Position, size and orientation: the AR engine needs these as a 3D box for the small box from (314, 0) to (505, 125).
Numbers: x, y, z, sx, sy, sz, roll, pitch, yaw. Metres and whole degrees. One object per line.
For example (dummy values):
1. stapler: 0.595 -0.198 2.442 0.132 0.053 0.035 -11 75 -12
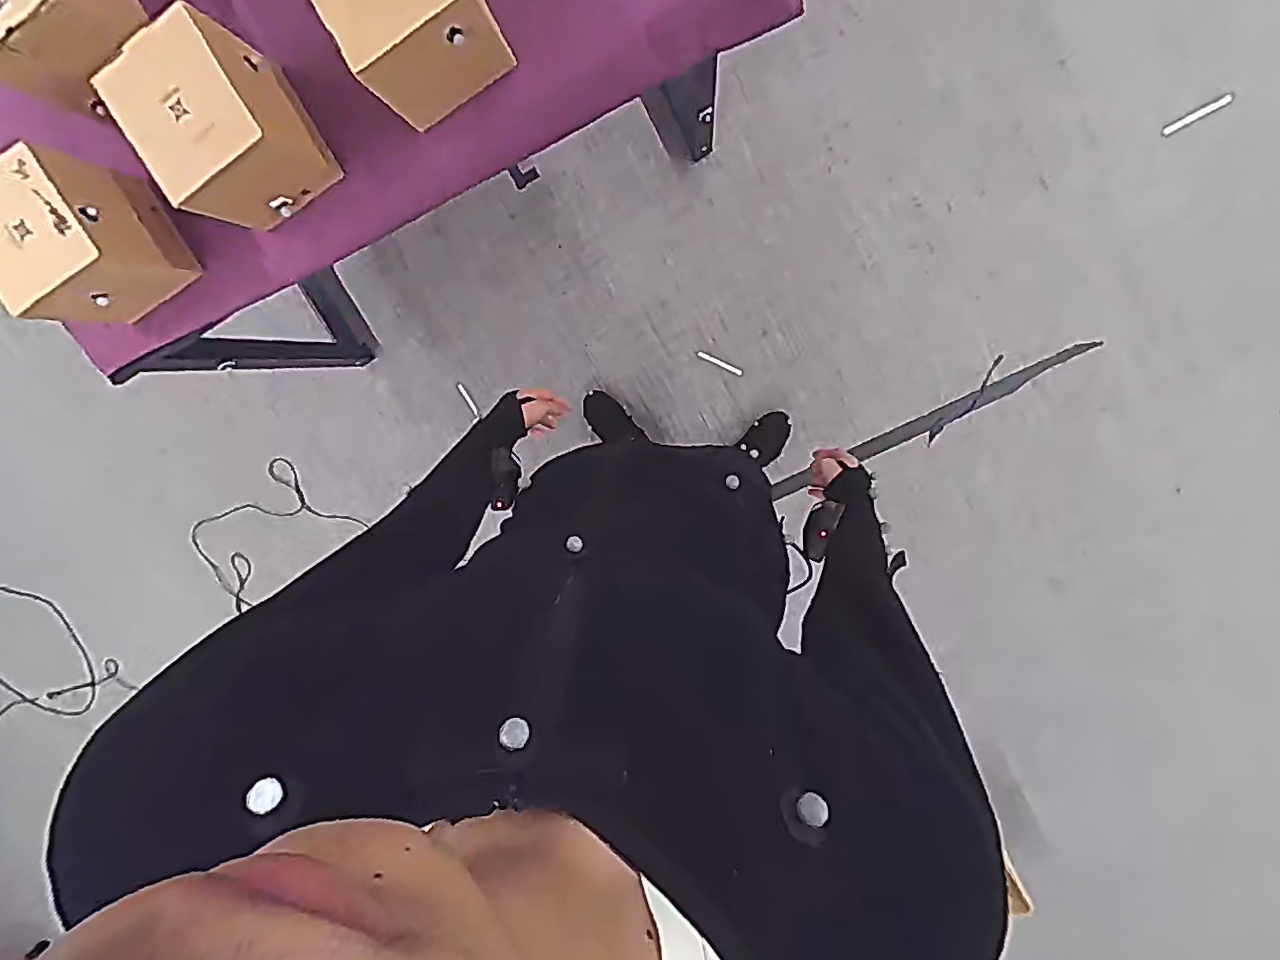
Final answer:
1. small box: -0.298 -0.614 0.703 0.179 0.176 0.168 -27 98 11

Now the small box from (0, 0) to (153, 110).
1. small box: -0.824 -0.658 0.750 0.168 0.176 0.179 -27 98 11

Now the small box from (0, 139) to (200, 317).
1. small box: -0.834 -0.360 0.816 0.179 0.176 0.168 -26 99 11

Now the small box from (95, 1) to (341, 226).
1. small box: -0.575 -0.493 0.762 0.168 0.176 0.179 -27 100 12
